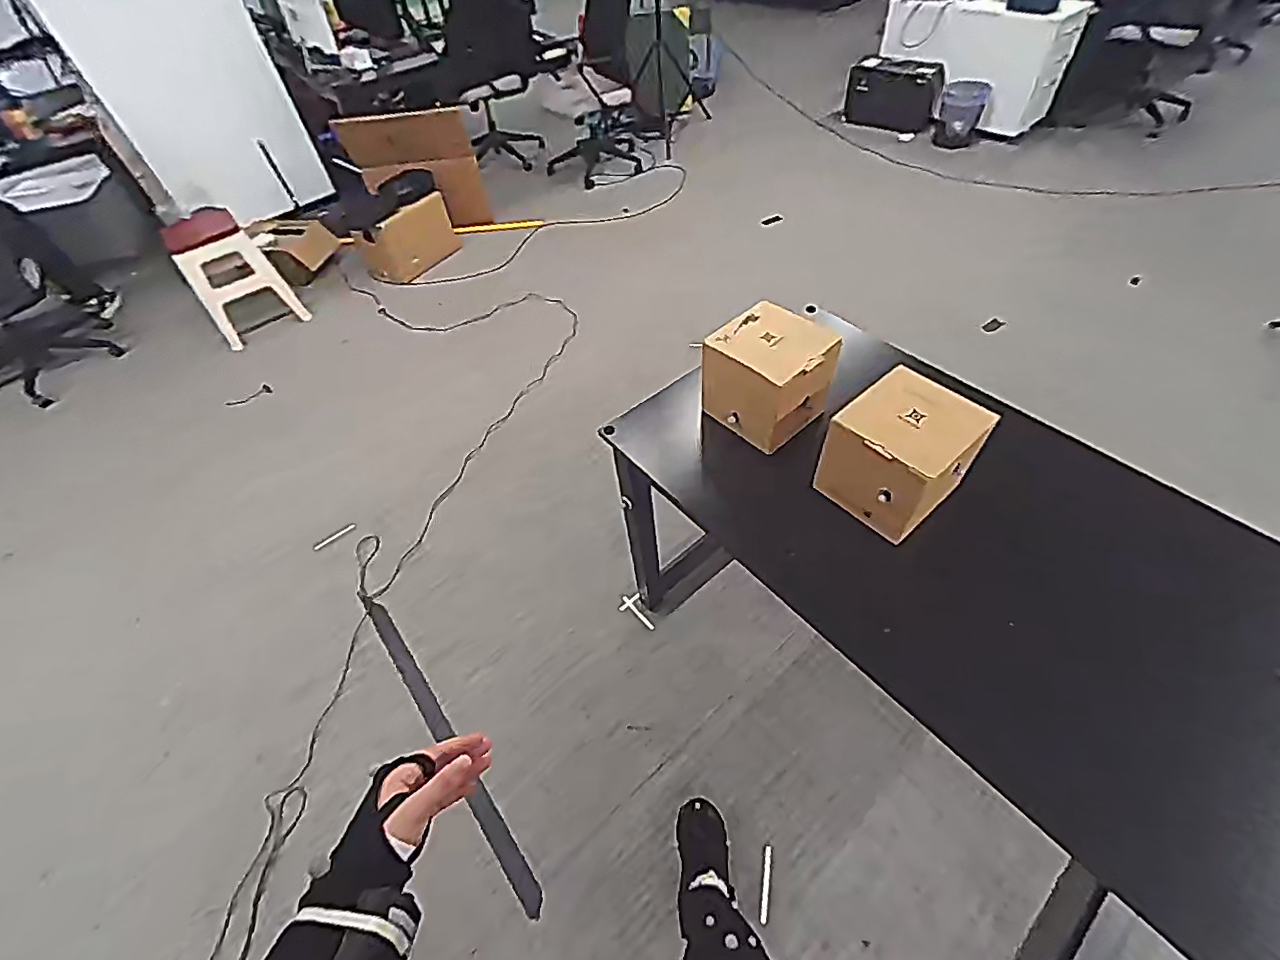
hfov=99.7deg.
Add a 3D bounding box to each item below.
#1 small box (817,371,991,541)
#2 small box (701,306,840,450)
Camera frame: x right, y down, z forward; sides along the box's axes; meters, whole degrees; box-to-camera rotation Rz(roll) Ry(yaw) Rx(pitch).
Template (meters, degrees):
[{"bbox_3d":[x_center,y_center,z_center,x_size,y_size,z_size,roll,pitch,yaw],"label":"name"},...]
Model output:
[{"bbox_3d":[0.403,-0.035,0.859,0.179,0.176,0.168,-35,57,-22],"label":"small box"},{"bbox_3d":[0.228,-0.180,0.990,0.168,0.176,0.179,-37,58,-23],"label":"small box"}]
